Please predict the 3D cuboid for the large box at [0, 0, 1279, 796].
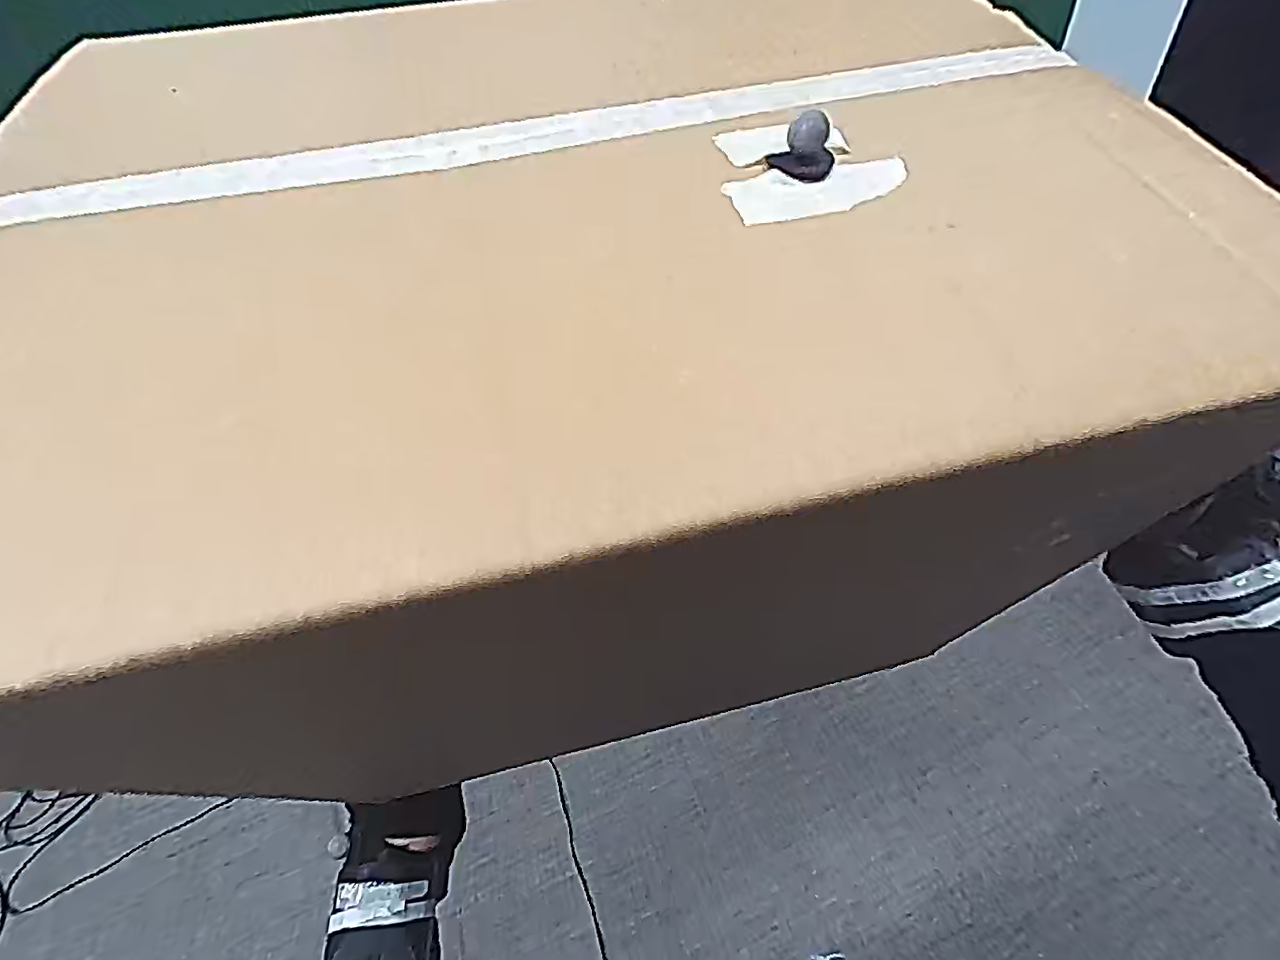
[{"bbox_3d":[-0.012,-0.039,0.330,0.408,0.320,0.320,-12,60,-8],"label":"large box"}]
